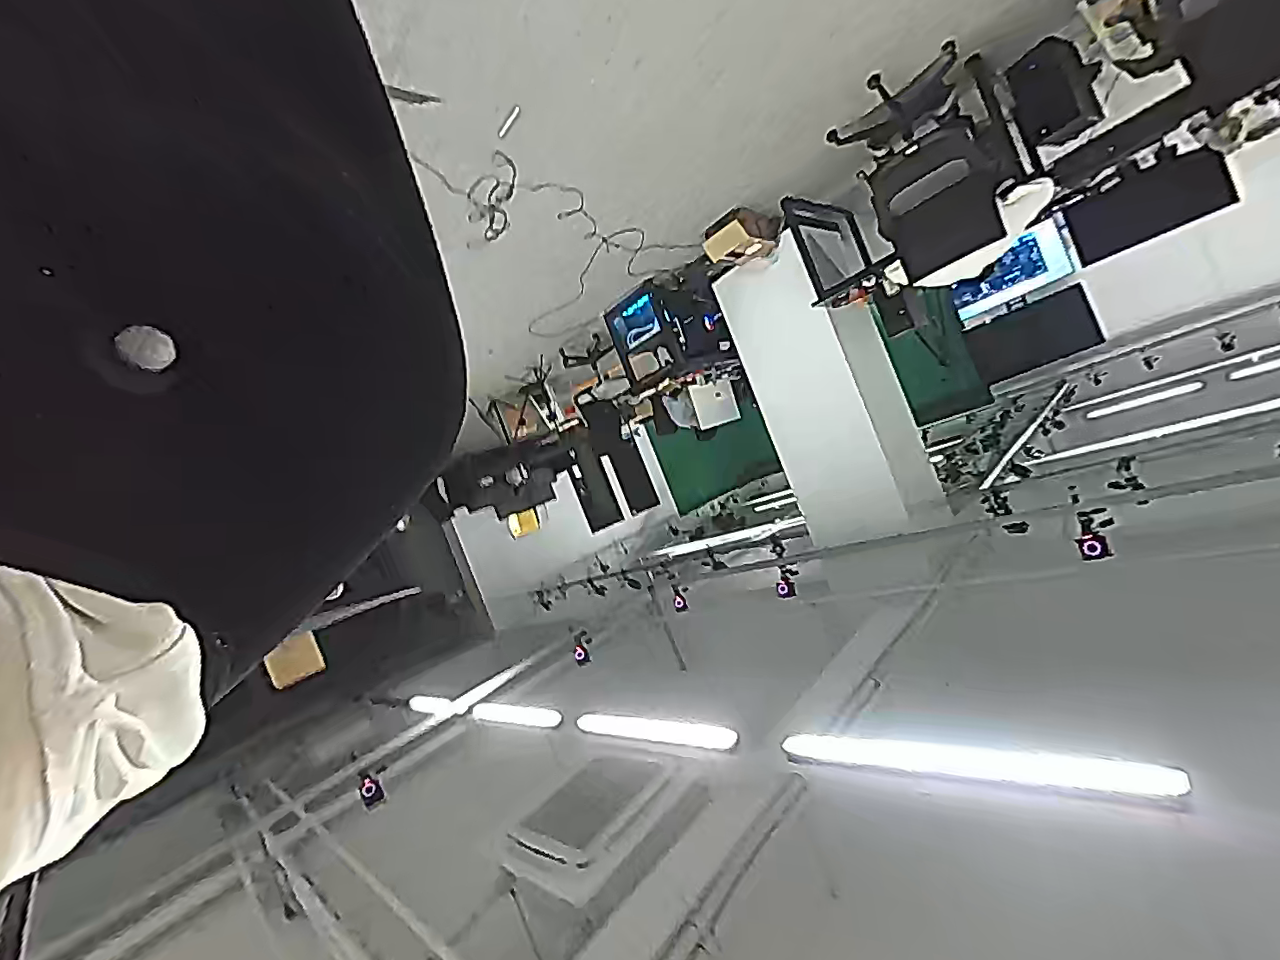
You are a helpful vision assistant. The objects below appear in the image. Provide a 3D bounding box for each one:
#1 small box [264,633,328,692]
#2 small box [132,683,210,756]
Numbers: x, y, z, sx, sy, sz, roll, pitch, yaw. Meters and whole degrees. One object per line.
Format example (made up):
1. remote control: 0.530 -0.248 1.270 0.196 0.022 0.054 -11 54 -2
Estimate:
1. small box: -1.383 0.727 2.166 0.168 0.176 0.179 -22 179 -42
2. small box: -1.615 0.818 1.864 0.168 0.176 0.179 -22 180 -42
